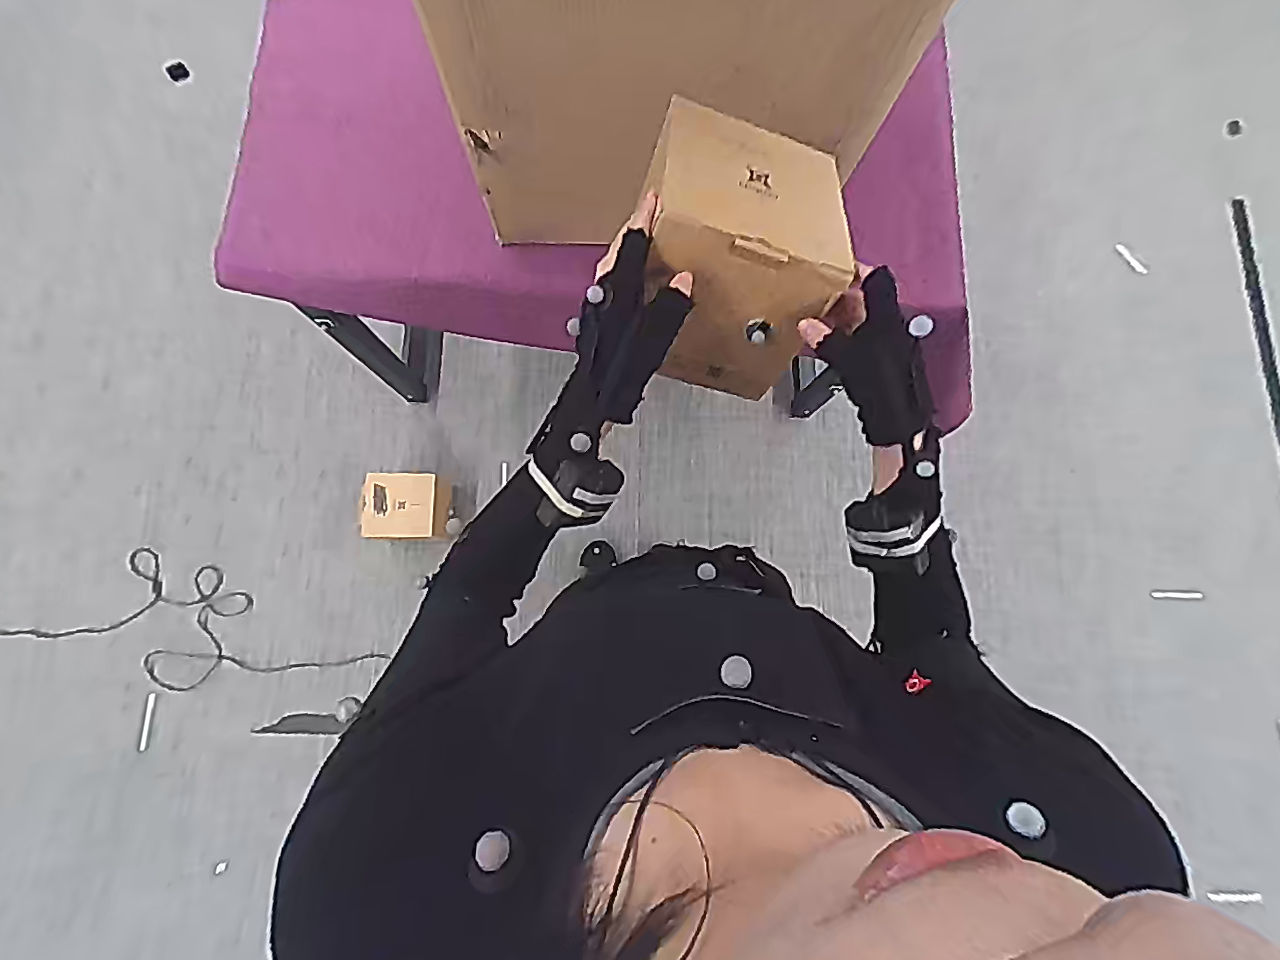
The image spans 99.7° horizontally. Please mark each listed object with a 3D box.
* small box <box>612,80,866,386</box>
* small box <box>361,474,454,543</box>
[{"bbox_3d":[0.076,-0.214,0.502,0.168,0.176,0.179,13,57,-13],"label":"small box"},{"bbox_3d":[-0.609,0.080,1.434,0.179,0.176,0.168,0,80,-4],"label":"small box"}]
